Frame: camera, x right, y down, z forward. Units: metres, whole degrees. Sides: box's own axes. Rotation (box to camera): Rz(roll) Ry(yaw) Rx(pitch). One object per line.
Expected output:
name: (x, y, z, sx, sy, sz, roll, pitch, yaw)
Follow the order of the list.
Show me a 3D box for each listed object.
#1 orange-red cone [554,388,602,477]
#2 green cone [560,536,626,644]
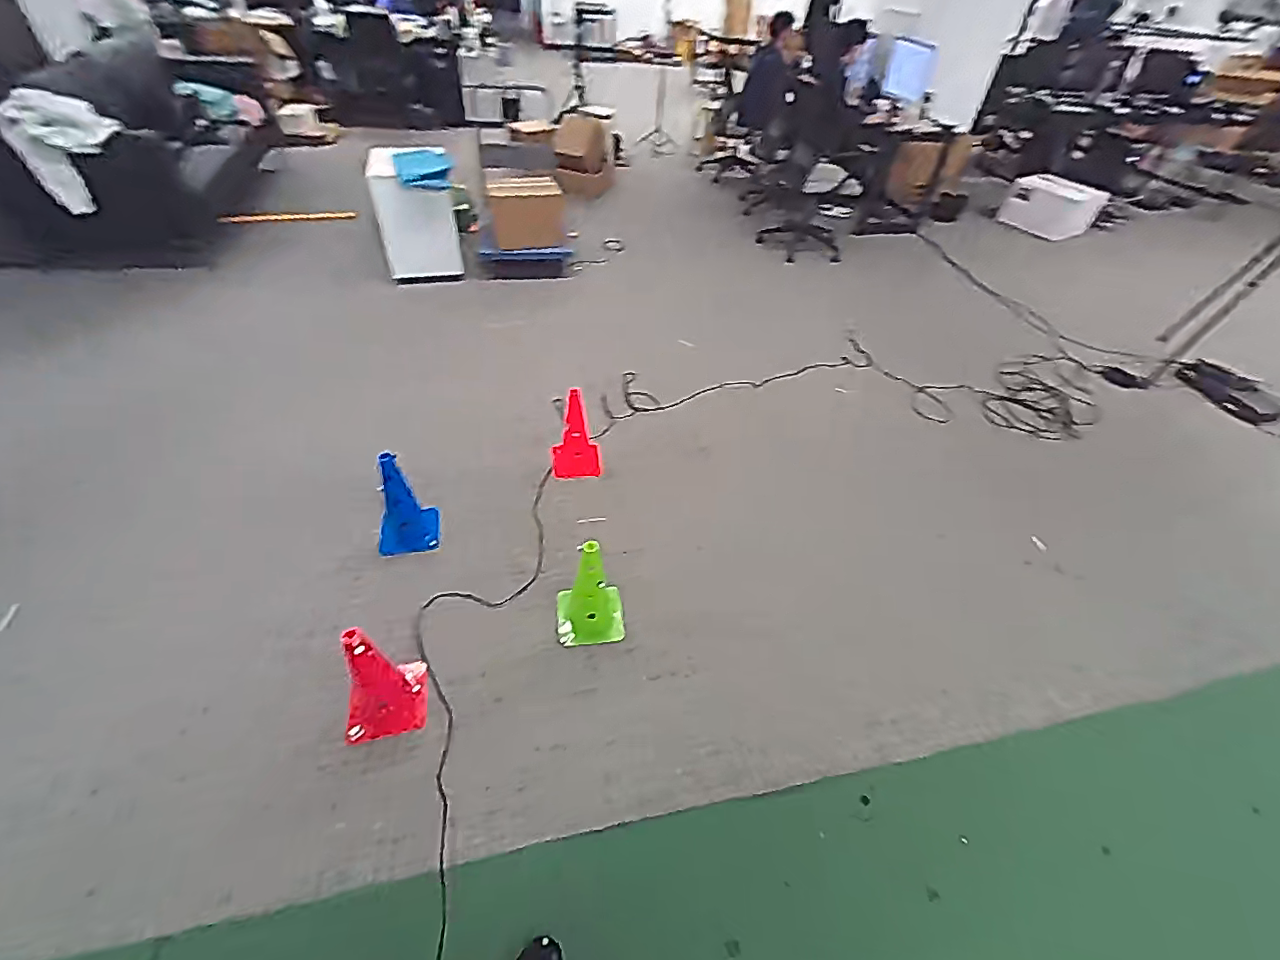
orange-red cone: (-0.250, -0.204, 2.124, 0.198, 0.360, 0.199, -3, 46, -7)
green cone: (-0.139, 0.303, 1.608, 0.200, 0.368, 0.202, -4, 44, -10)
